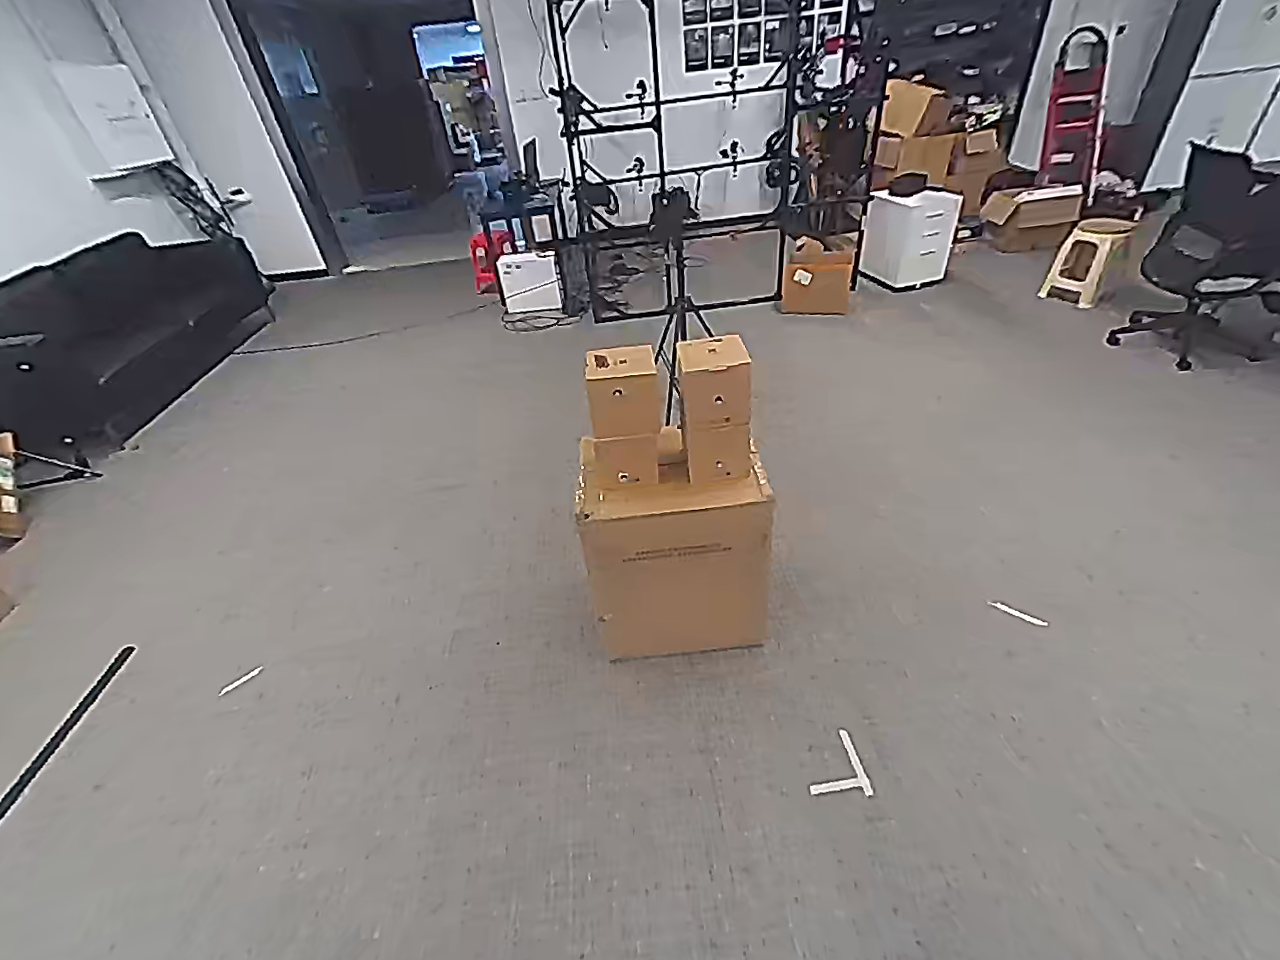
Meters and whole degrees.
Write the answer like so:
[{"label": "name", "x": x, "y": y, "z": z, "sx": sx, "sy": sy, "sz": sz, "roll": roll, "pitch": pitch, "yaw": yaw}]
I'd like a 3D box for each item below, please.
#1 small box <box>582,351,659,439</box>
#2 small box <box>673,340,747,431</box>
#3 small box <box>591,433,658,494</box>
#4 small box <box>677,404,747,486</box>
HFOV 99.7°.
[{"label": "small box", "x": -0.050, "y": -0.219, "z": 1.405, "sx": 0.179, "sy": 0.176, "sz": 0.168, "roll": -6, "pitch": 38, "yaw": 0}, {"label": "small box", "x": 0.180, "y": -0.238, "z": 1.390, "sx": 0.168, "sy": 0.176, "sz": 0.179, "roll": -7, "pitch": 38, "yaw": 2}, {"label": "small box", "x": -0.043, "y": -0.084, "z": 1.500, "sx": 0.168, "sy": 0.176, "sz": 0.179, "roll": -7, "pitch": 38, "yaw": 0}, {"label": "small box", "x": 0.195, "y": -0.106, "z": 1.487, "sx": 0.168, "sy": 0.176, "sz": 0.179, "roll": -8, "pitch": 38, "yaw": 1}]
